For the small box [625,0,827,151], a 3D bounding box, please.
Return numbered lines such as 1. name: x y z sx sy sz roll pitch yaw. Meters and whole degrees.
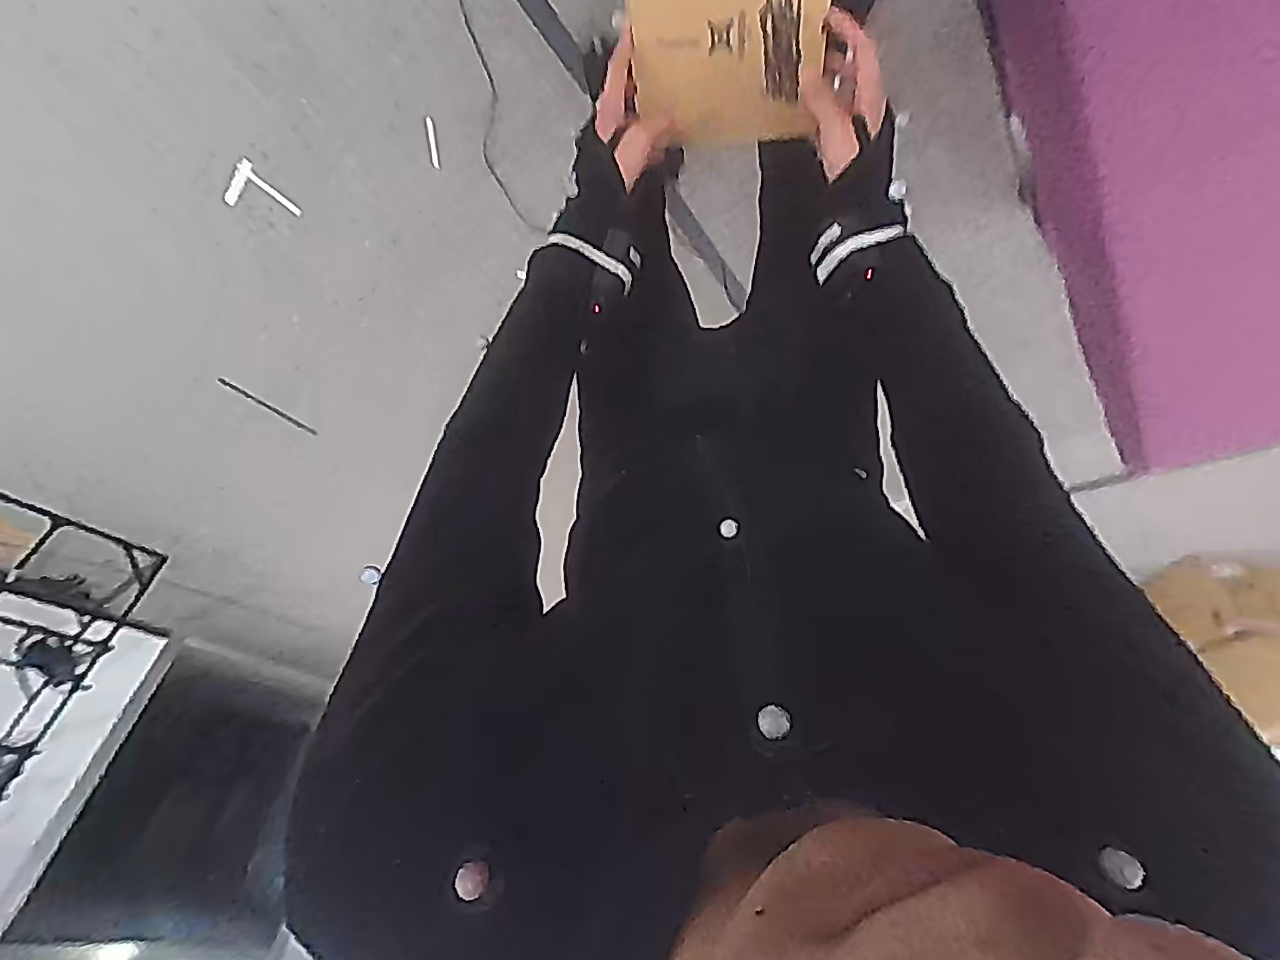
1. small box: 0.076 -0.459 0.544 0.179 0.176 0.168 -6 137 3
